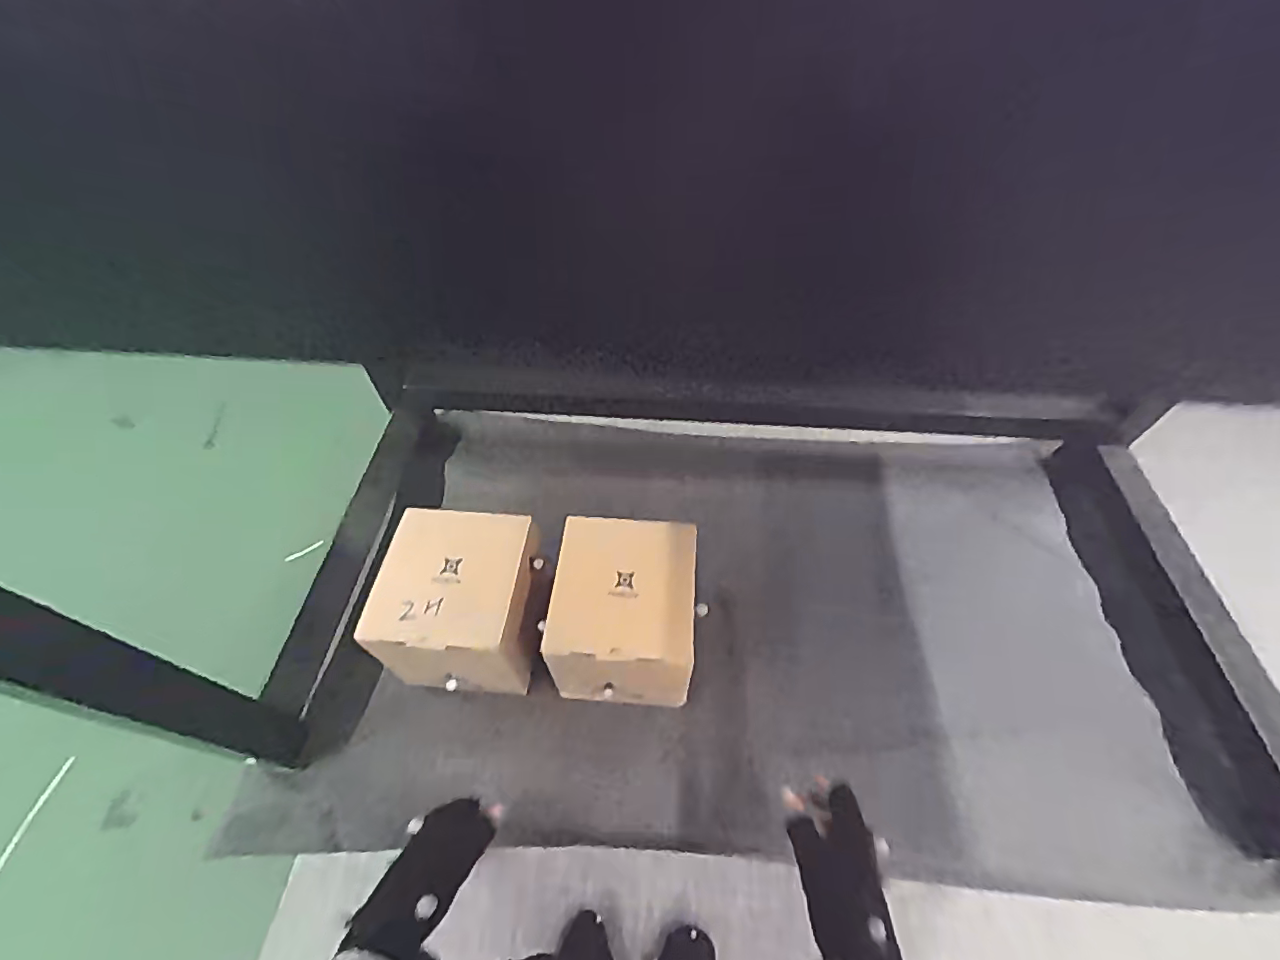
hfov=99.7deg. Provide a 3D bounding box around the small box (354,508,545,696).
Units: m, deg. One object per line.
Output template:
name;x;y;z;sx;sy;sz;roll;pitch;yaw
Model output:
small box;-0.225;0.159;0.699;0.168;0.176;0.179;4;53;4
